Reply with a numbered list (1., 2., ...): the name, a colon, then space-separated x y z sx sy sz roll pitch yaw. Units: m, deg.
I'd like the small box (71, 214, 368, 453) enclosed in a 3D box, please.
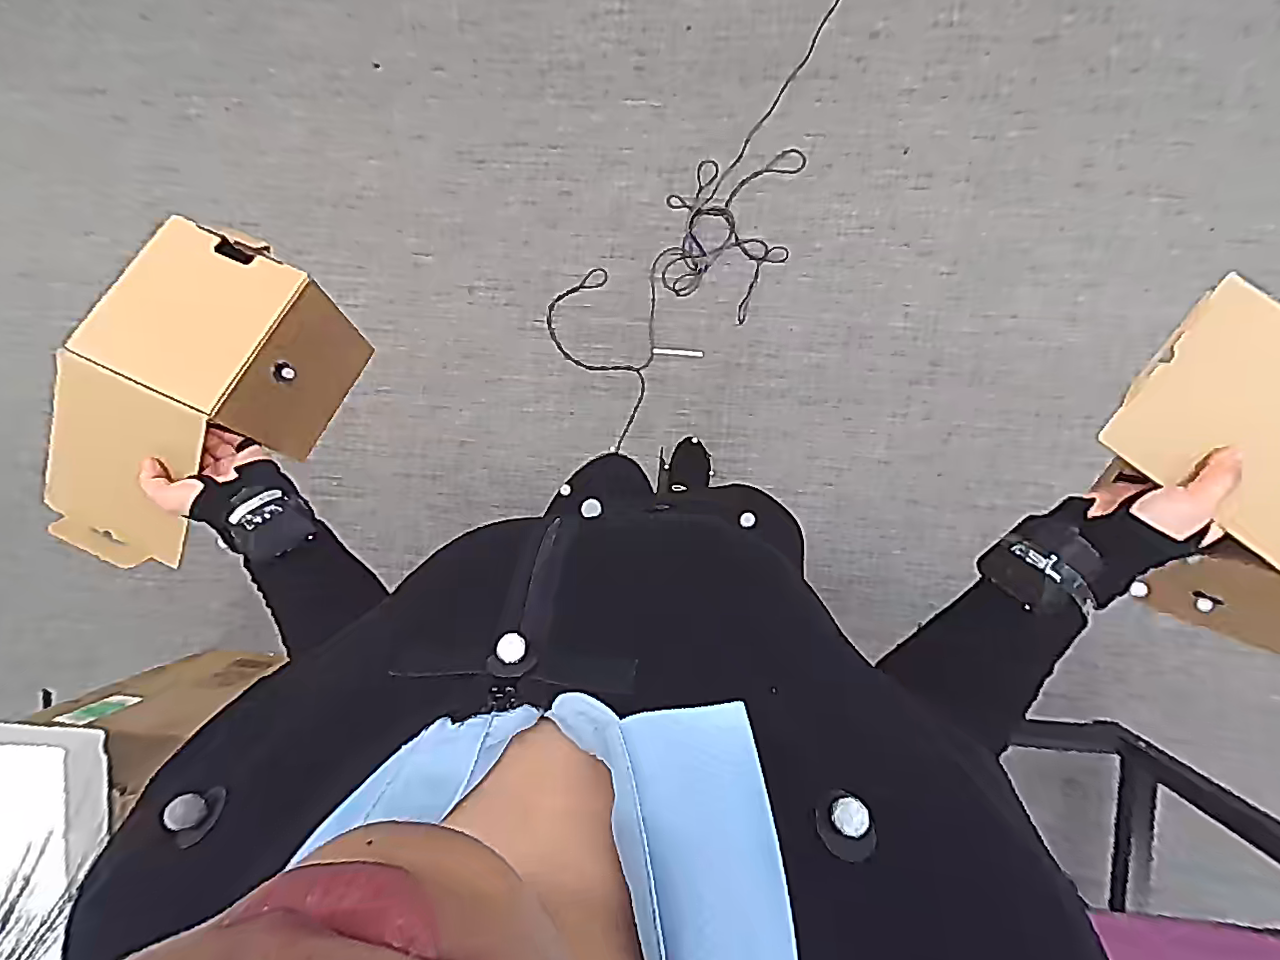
1. small box: -0.450 -0.151 0.618 0.168 0.176 0.179 24 76 2
